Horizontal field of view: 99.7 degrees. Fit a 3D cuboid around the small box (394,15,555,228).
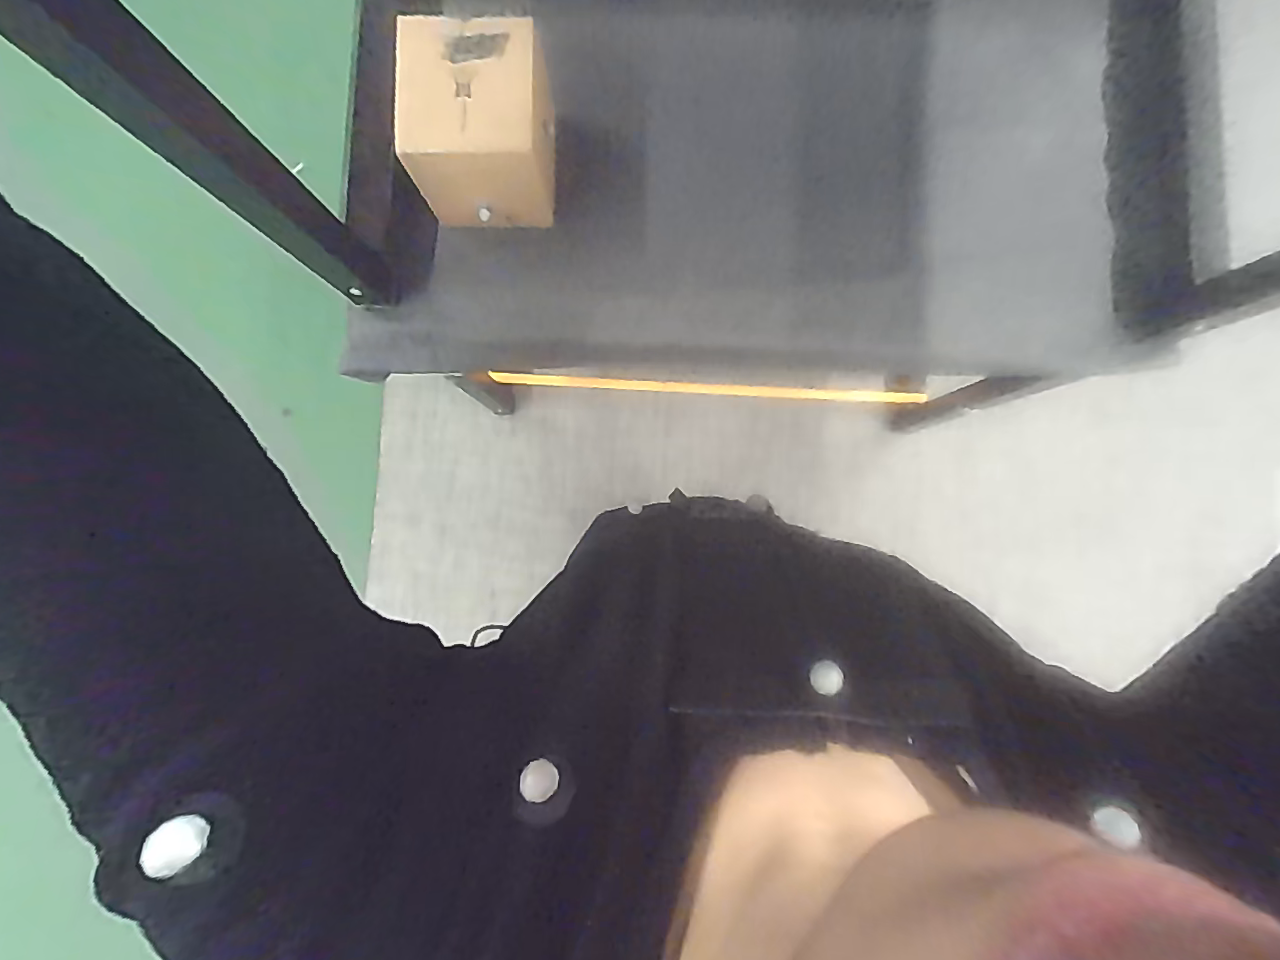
[{"bbox_3d":[-0.209,-0.468,0.726,0.168,0.176,0.179,0,86,0],"label":"small box"}]
